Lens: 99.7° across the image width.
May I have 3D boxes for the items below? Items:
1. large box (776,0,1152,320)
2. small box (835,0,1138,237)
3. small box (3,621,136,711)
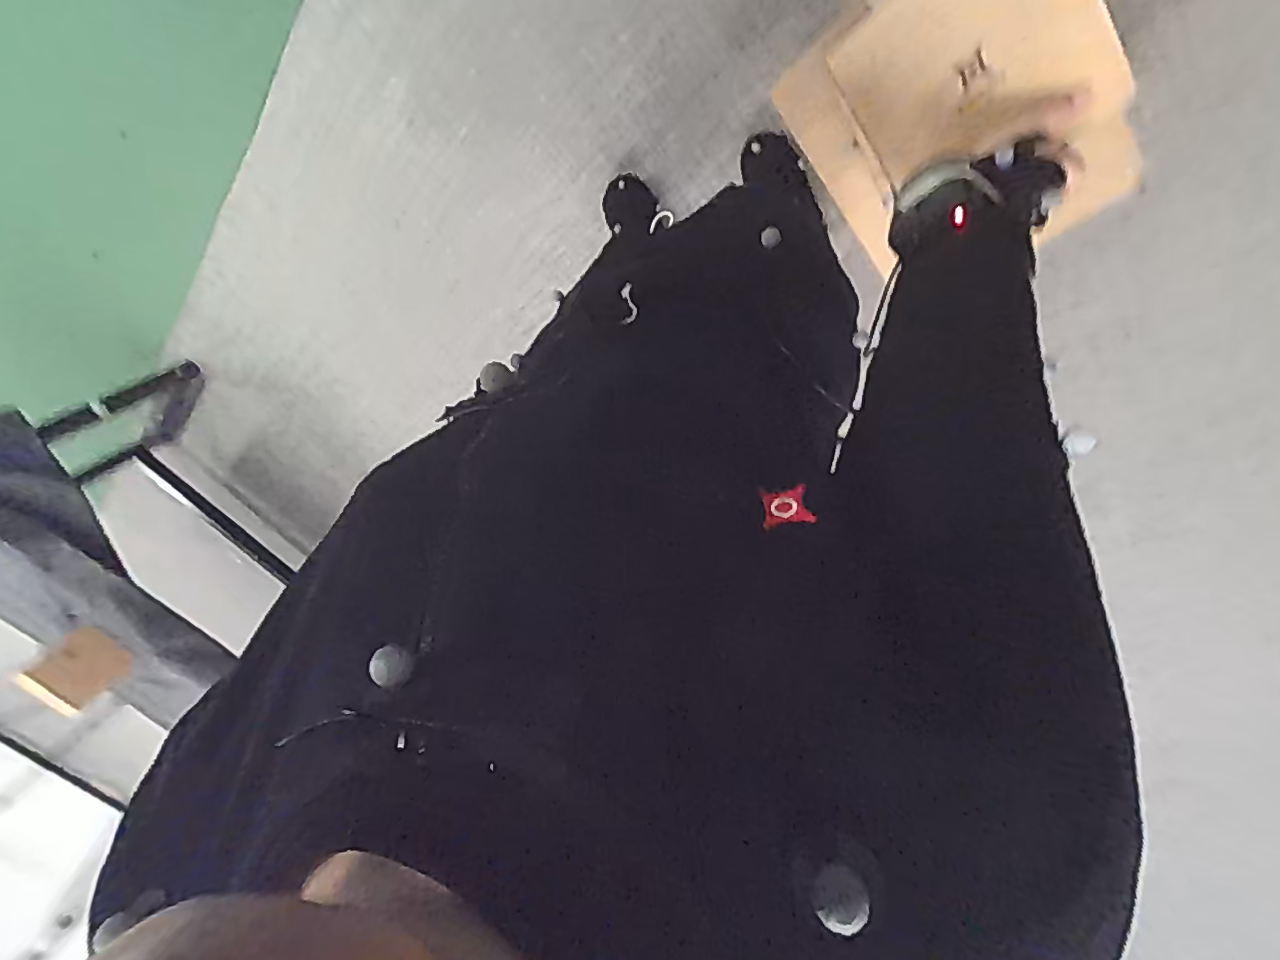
[{"bbox_3d":[0.460,-0.539,0.833,0.320,0.320,0.408,-30,112,35],"label":"large box"},{"bbox_3d":[0.294,-0.362,0.497,0.168,0.176,0.179,-29,111,33],"label":"small box"},{"bbox_3d":[-1.565,0.508,1.490,0.168,0.176,0.179,-20,116,33],"label":"small box"}]
